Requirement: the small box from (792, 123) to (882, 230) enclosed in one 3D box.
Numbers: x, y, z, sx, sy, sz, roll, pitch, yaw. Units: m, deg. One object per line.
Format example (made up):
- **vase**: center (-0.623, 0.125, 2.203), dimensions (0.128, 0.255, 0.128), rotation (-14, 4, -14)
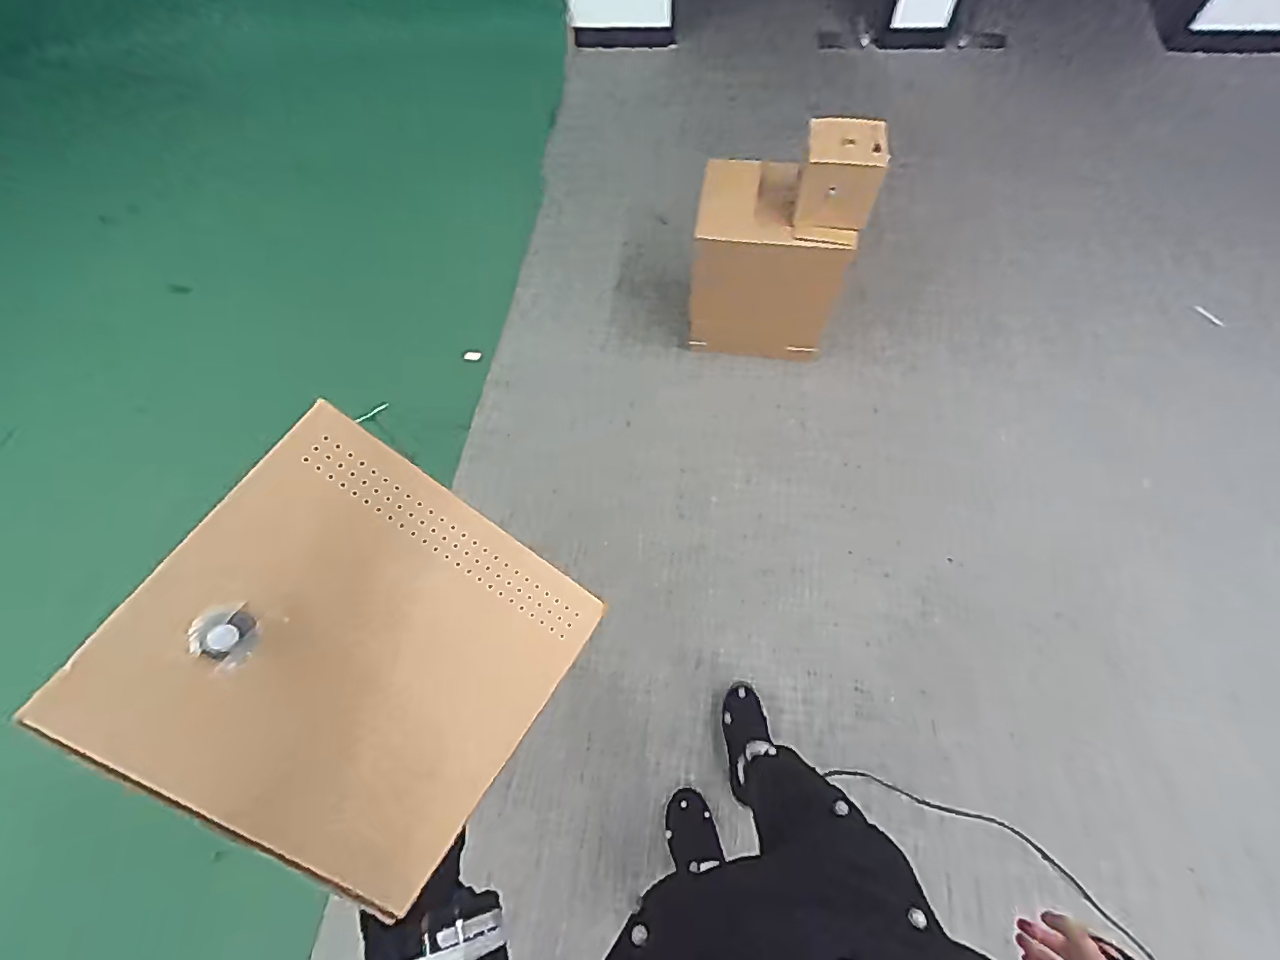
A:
- **small box**: center (0.471, -0.735, 1.316), dimensions (0.179, 0.176, 0.168), rotation (6, 66, 7)
